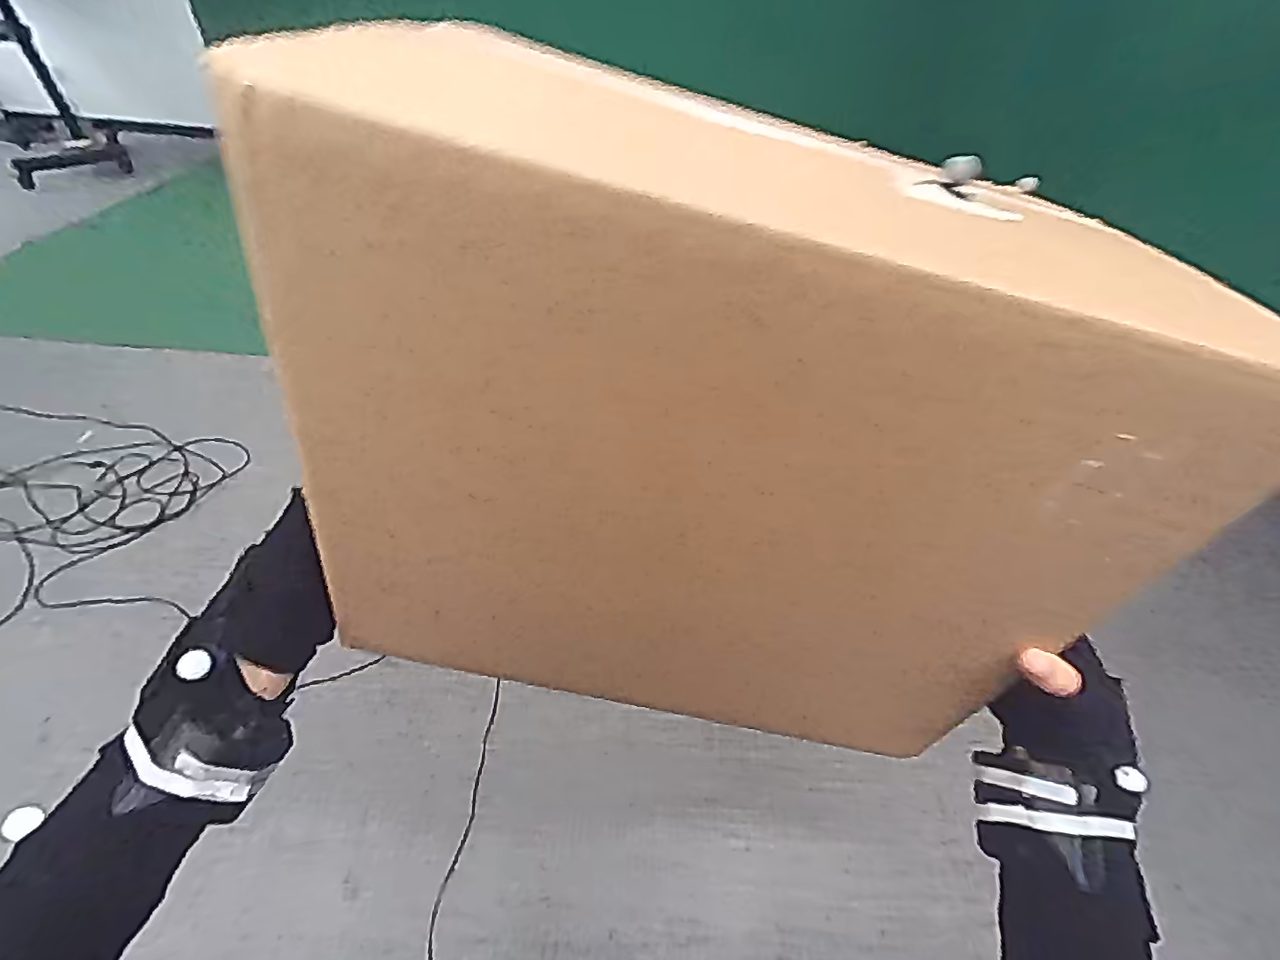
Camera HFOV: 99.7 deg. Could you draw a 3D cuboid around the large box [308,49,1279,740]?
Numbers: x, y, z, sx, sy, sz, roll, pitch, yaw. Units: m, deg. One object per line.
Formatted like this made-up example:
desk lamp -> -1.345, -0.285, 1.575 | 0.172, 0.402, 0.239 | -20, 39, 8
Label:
large box -> 0.058, -0.057, 0.393 | 0.408, 0.320, 0.320 | 14, 41, -6
